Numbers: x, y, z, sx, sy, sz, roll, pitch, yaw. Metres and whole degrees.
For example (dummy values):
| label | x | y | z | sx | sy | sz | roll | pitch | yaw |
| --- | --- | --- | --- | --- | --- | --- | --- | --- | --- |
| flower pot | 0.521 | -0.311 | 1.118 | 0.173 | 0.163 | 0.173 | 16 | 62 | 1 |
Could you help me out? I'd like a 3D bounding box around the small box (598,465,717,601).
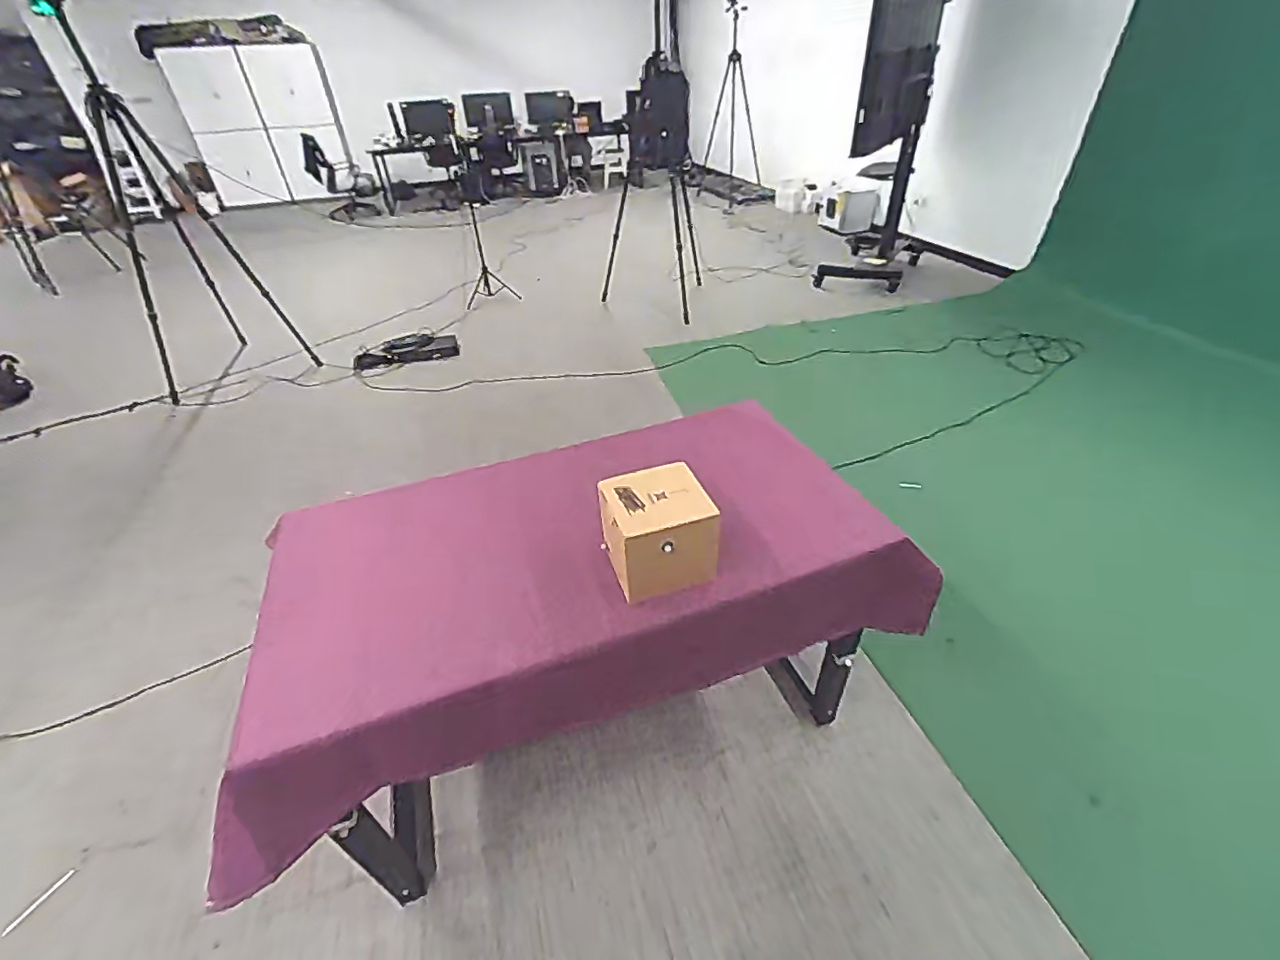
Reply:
| label | x | y | z | sx | sy | sz | roll | pitch | yaw |
| --- | --- | --- | --- | --- | --- | --- | --- | --- | --- |
| small box | 0.032 | 0.099 | 1.009 | 0.179 | 0.176 | 0.168 | -13 | 39 | -13 |
